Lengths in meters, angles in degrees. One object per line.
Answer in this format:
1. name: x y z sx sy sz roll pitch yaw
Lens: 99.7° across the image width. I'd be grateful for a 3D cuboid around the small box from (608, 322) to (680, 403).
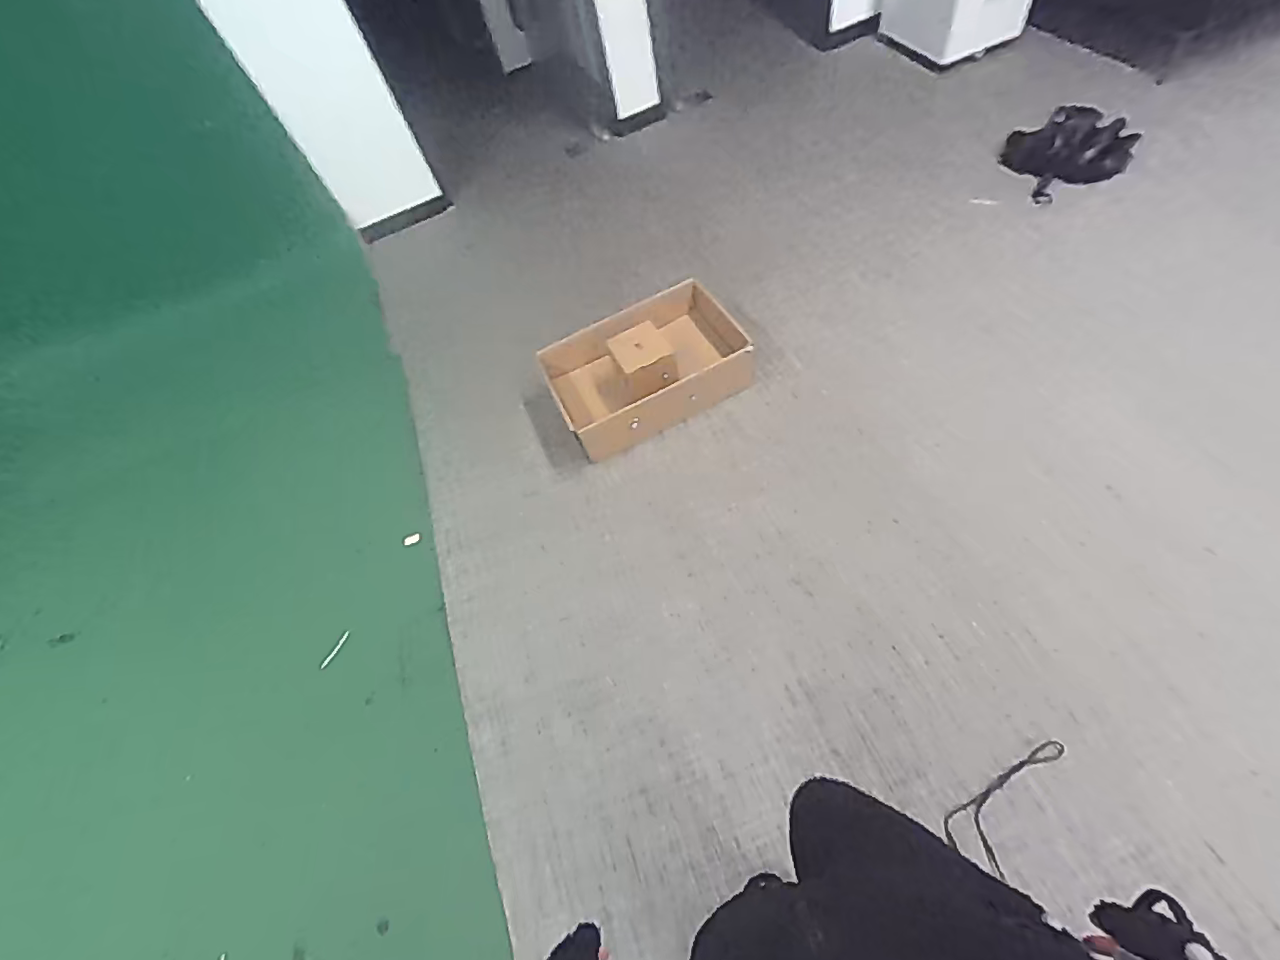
1. small box: 0.018 -0.375 1.769 0.168 0.176 0.179 -27 55 -5
